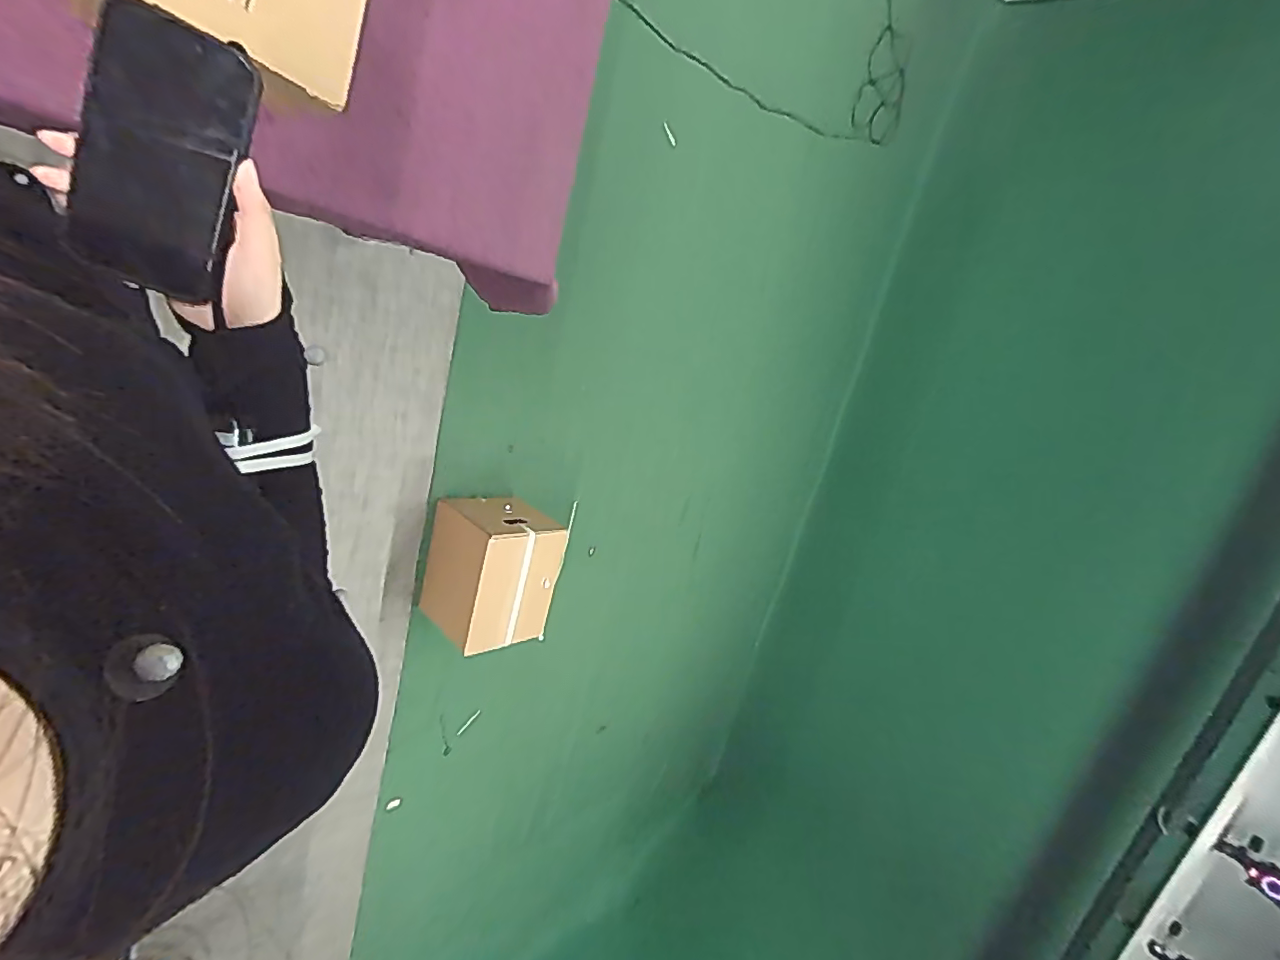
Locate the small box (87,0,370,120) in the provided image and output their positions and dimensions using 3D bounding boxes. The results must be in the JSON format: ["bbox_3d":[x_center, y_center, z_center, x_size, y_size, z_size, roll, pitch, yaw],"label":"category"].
[{"bbox_3d":[-0.353,-0.450,0.469,0.168,0.176,0.179,6,106,-50],"label":"small box"}]
